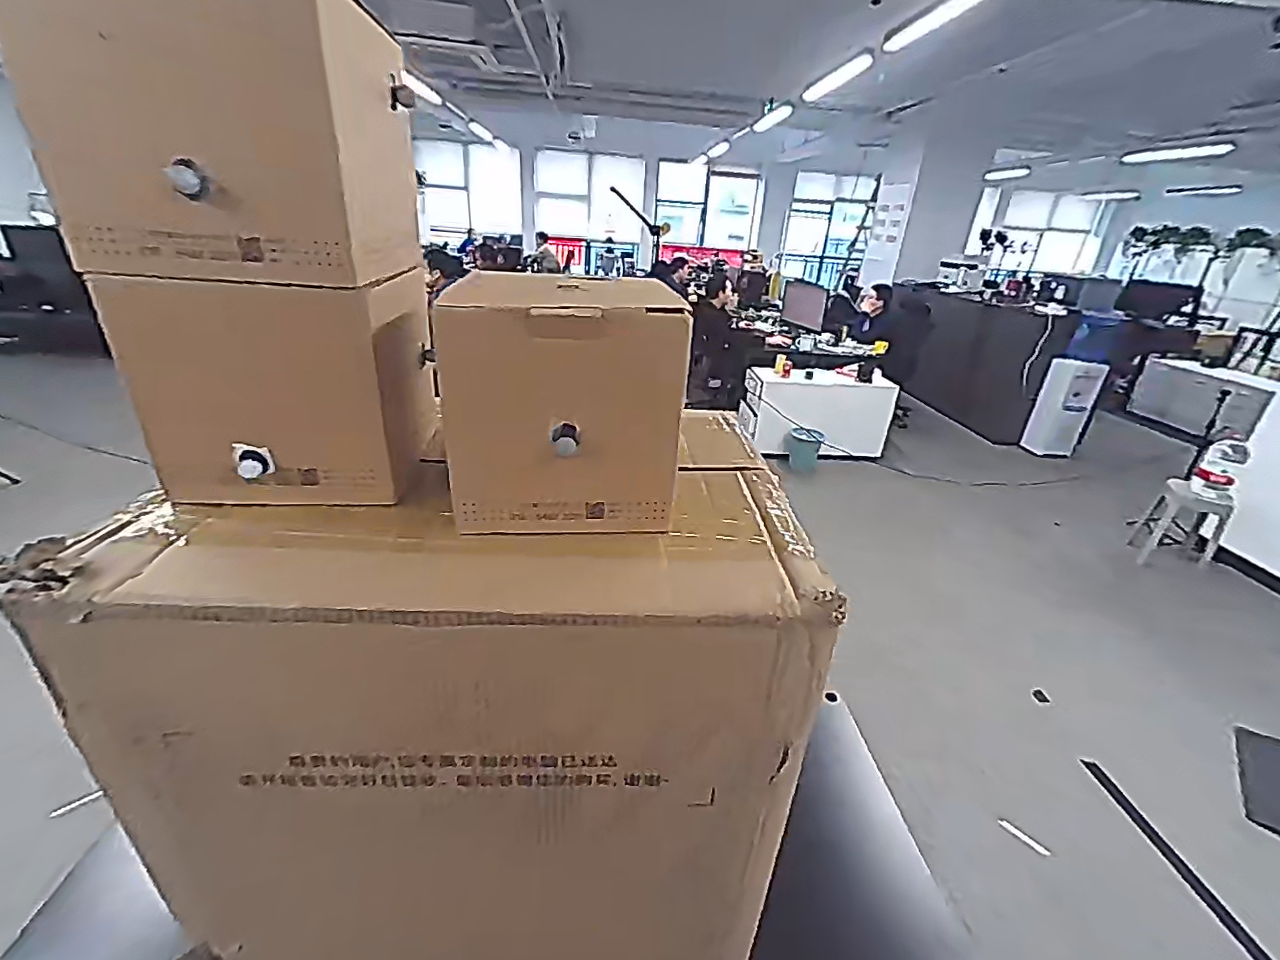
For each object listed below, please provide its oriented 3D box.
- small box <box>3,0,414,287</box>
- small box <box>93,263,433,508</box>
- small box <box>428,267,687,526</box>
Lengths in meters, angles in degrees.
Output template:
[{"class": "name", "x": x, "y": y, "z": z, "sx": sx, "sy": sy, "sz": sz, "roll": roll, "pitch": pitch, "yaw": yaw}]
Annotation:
[{"class": "small box", "x": -0.267, "y": -0.238, "z": 0.379, "sx": 0.168, "sy": 0.176, "sz": 0.179, "roll": 0, "pitch": 26, "yaw": -7}, {"class": "small box", "x": -0.277, "y": -0.090, "z": 0.453, "sx": 0.168, "sy": 0.176, "sz": 0.179, "roll": -1, "pitch": 28, "yaw": -10}, {"class": "small box", "x": -0.061, "y": -0.073, "z": 0.446, "sx": 0.168, "sy": 0.176, "sz": 0.179, "roll": 0, "pitch": 28, "yaw": -7}]
